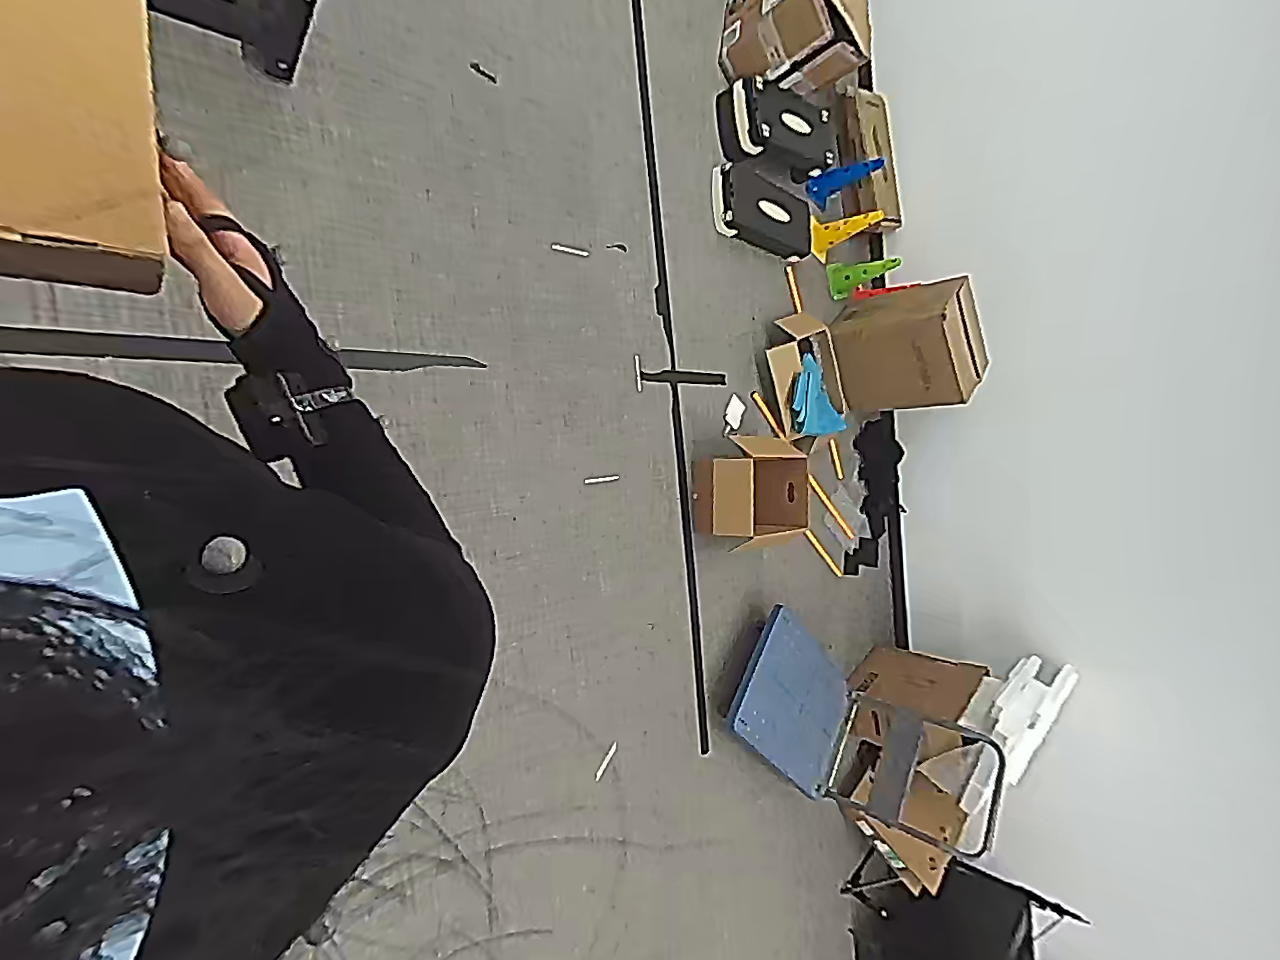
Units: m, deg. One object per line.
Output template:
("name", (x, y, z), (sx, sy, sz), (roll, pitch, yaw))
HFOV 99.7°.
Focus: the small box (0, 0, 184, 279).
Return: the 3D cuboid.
("small box", (-0.389, -0.233, 0.319), (0.168, 0.176, 0.179), (-6, 101, -43))
